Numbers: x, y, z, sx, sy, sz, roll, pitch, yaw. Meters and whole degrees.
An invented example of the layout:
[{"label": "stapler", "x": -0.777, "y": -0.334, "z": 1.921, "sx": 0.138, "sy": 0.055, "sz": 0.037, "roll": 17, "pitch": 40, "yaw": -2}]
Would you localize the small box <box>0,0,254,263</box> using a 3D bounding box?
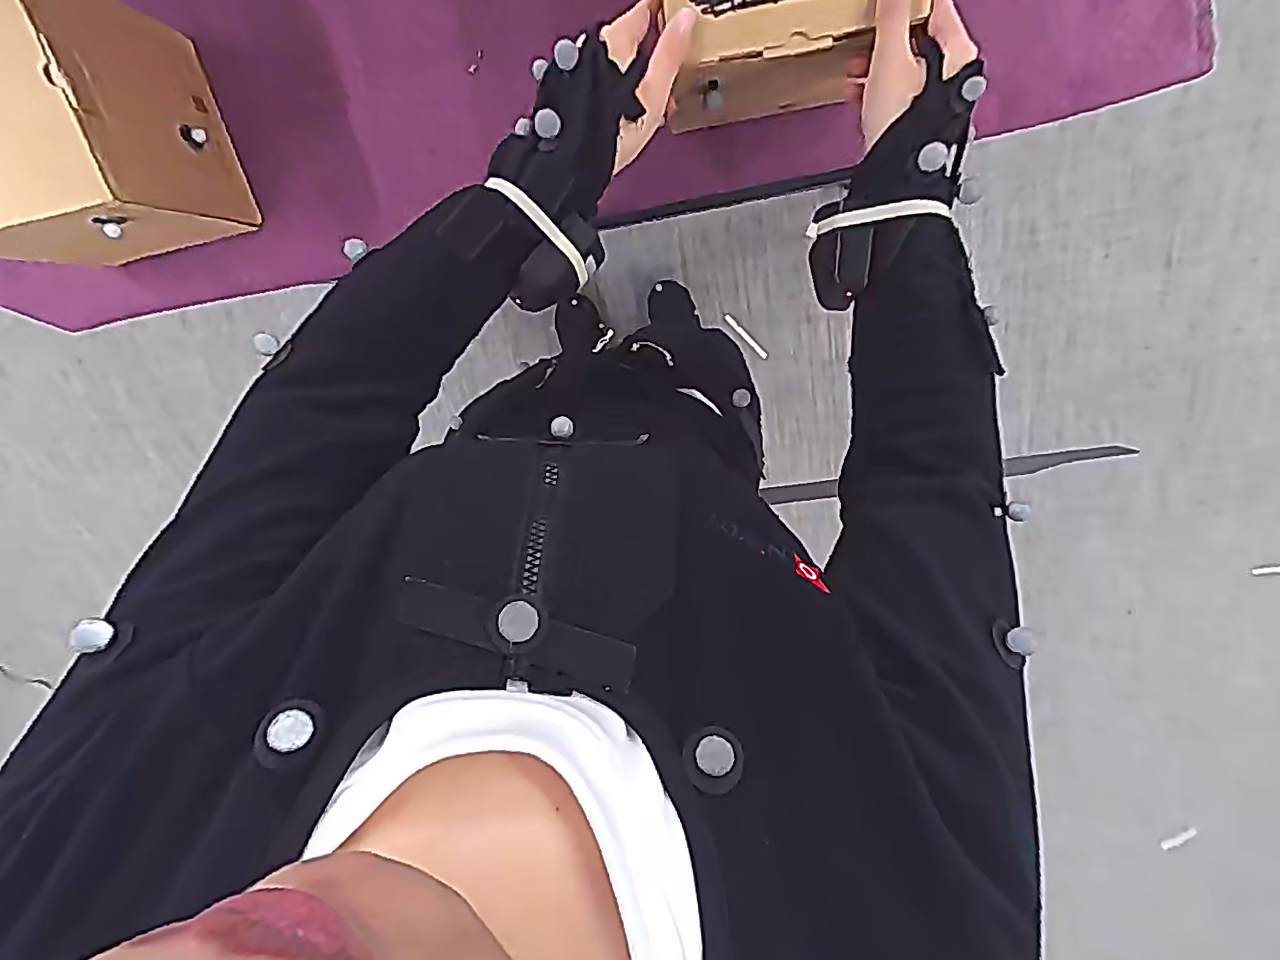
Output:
[{"label": "small box", "x": -0.493, "y": -0.293, "z": 0.465, "sx": 0.179, "sy": 0.176, "sz": 0.168, "roll": -12, "pitch": 108, "yaw": 3}]
